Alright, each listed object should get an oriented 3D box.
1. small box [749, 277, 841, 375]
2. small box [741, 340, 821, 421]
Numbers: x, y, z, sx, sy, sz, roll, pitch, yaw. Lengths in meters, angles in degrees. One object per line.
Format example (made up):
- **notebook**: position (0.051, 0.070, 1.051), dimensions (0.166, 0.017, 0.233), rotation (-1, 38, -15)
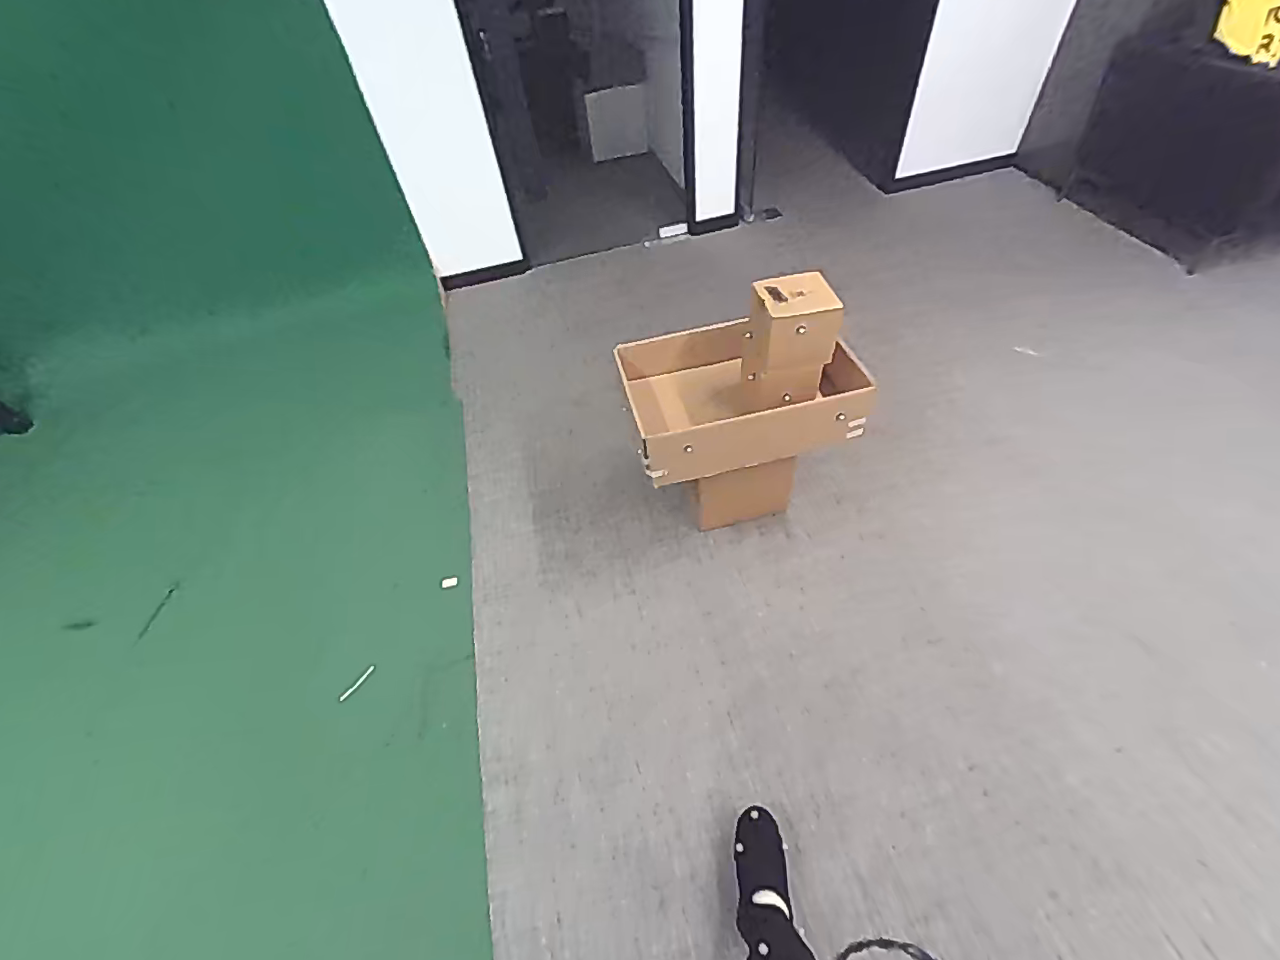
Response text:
- **small box**: position (0.382, -0.386, 1.372), dimensions (0.179, 0.176, 0.168), rotation (-10, 50, -3)
- **small box**: position (0.383, -0.279, 1.497), dimensions (0.168, 0.176, 0.179), rotation (-9, 49, -1)
